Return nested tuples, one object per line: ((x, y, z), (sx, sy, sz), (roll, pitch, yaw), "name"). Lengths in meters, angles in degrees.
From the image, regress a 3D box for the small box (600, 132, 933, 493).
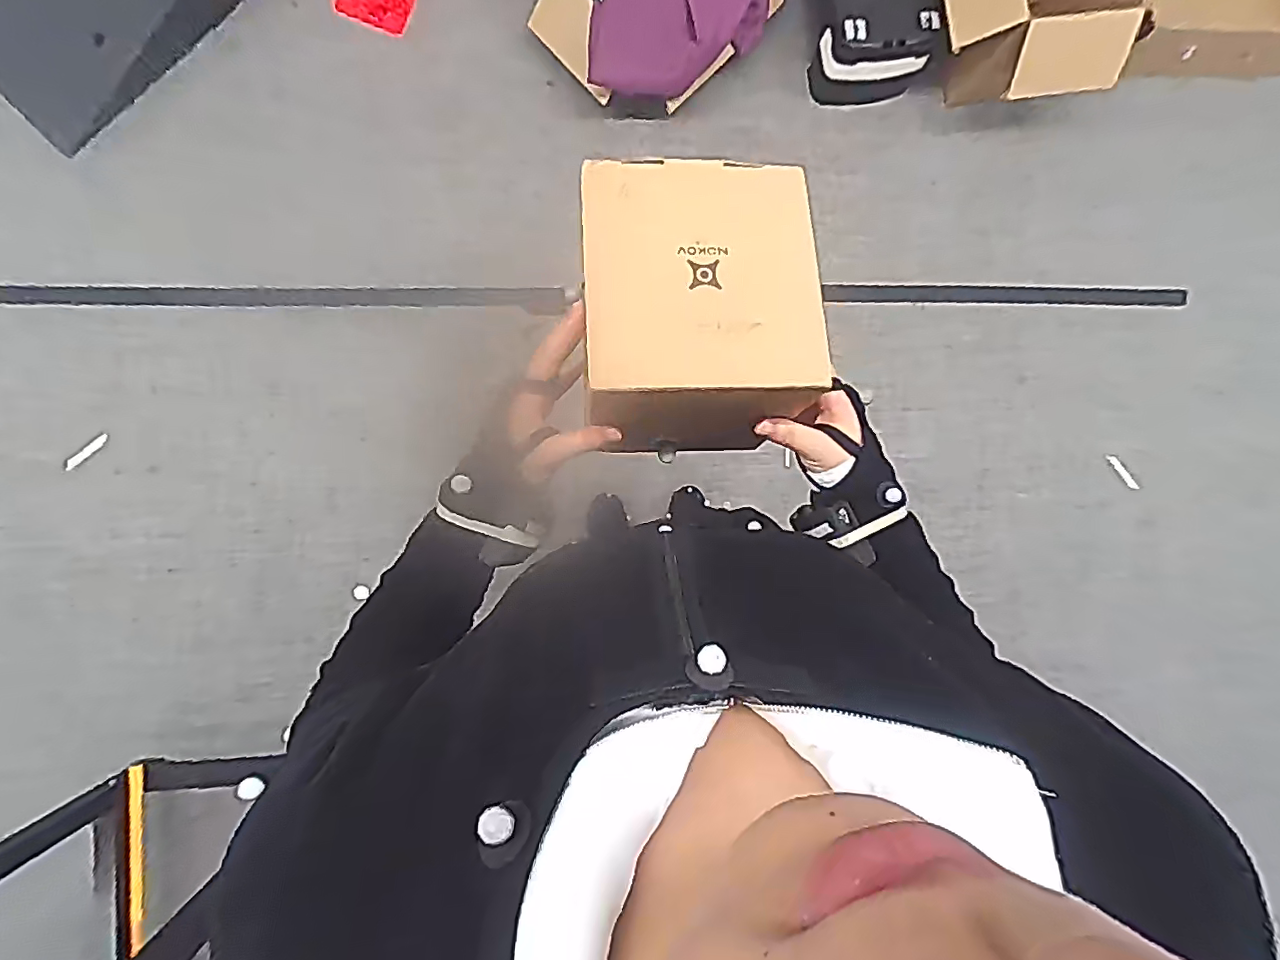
((0.060, -0.094, 0.369), (0.168, 0.176, 0.179), (-2, 79, -6), "small box")
